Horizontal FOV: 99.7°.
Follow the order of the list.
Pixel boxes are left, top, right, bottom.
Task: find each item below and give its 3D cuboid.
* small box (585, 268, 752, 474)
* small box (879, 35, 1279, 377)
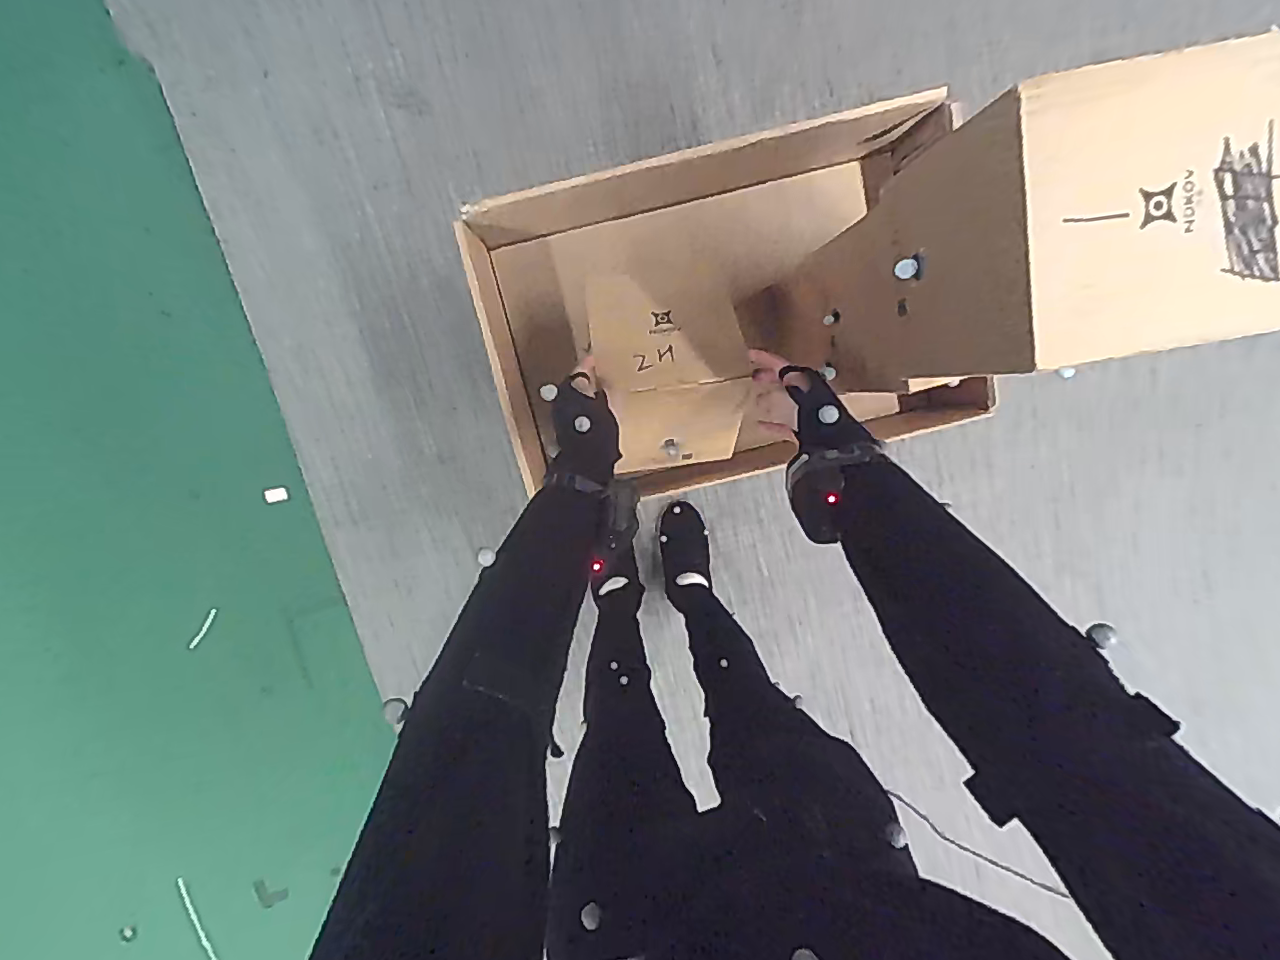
[{"bbox_3d":[0.027,-0.130,0.667,0.168,0.176,0.179,-8,61,-3],"label":"small box"},{"bbox_3d":[0.303,-0.171,0.394,0.179,0.176,0.168,-10,99,1],"label":"small box"}]
